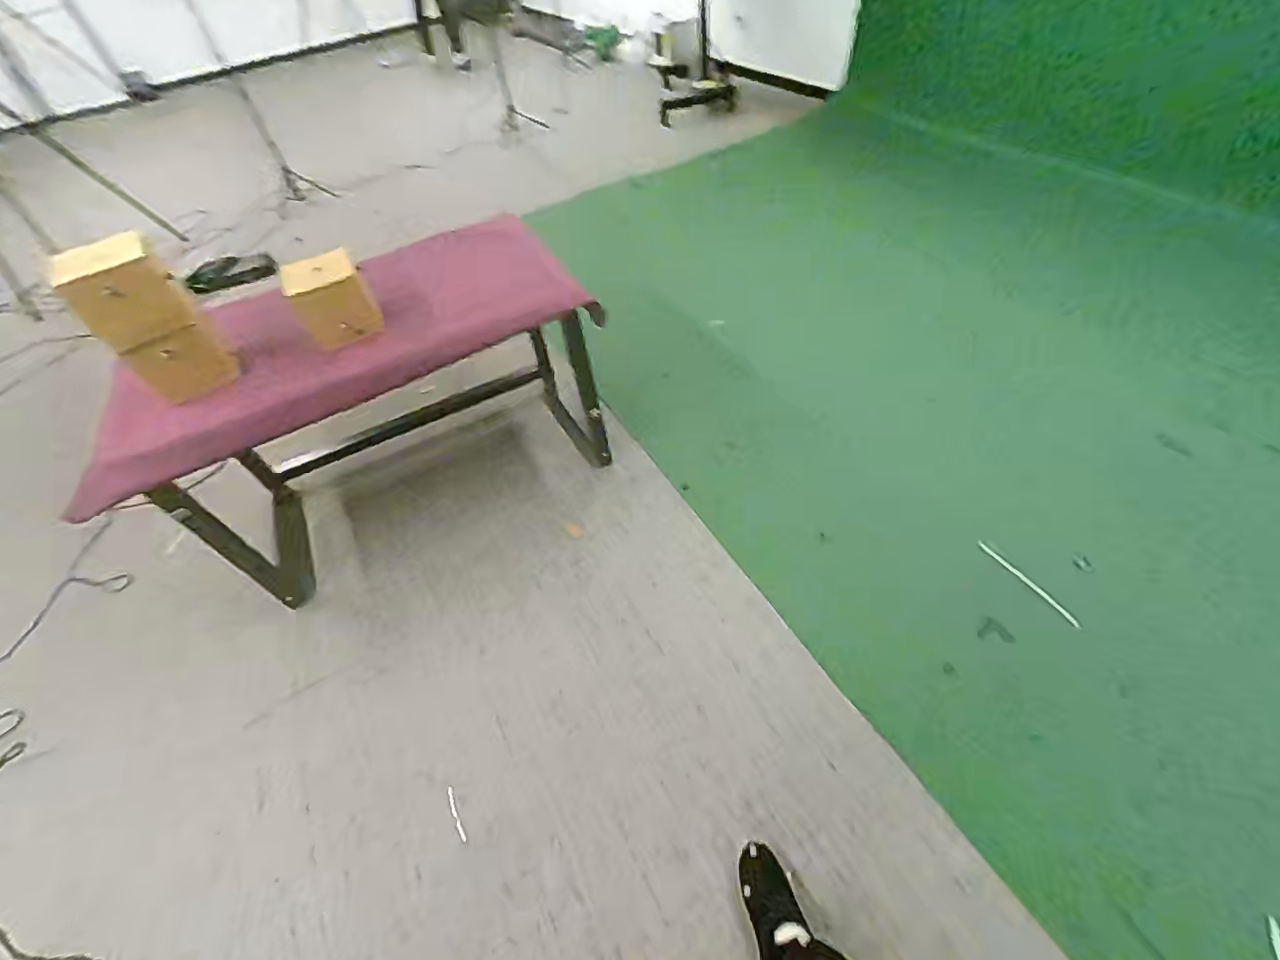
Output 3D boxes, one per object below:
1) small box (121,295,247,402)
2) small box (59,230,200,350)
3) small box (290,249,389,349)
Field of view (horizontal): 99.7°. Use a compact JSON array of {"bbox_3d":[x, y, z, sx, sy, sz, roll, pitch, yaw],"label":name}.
[{"bbox_3d":[-1.124,-0.323,1.341,0.179,0.176,0.168,-29,53,-17],"label":"small box"},{"bbox_3d":[-1.135,-0.426,1.217,0.179,0.176,0.168,-31,54,-17],"label":"small box"},{"bbox_3d":[-0.787,-0.473,1.419,0.168,0.176,0.179,-24,51,-12],"label":"small box"}]
